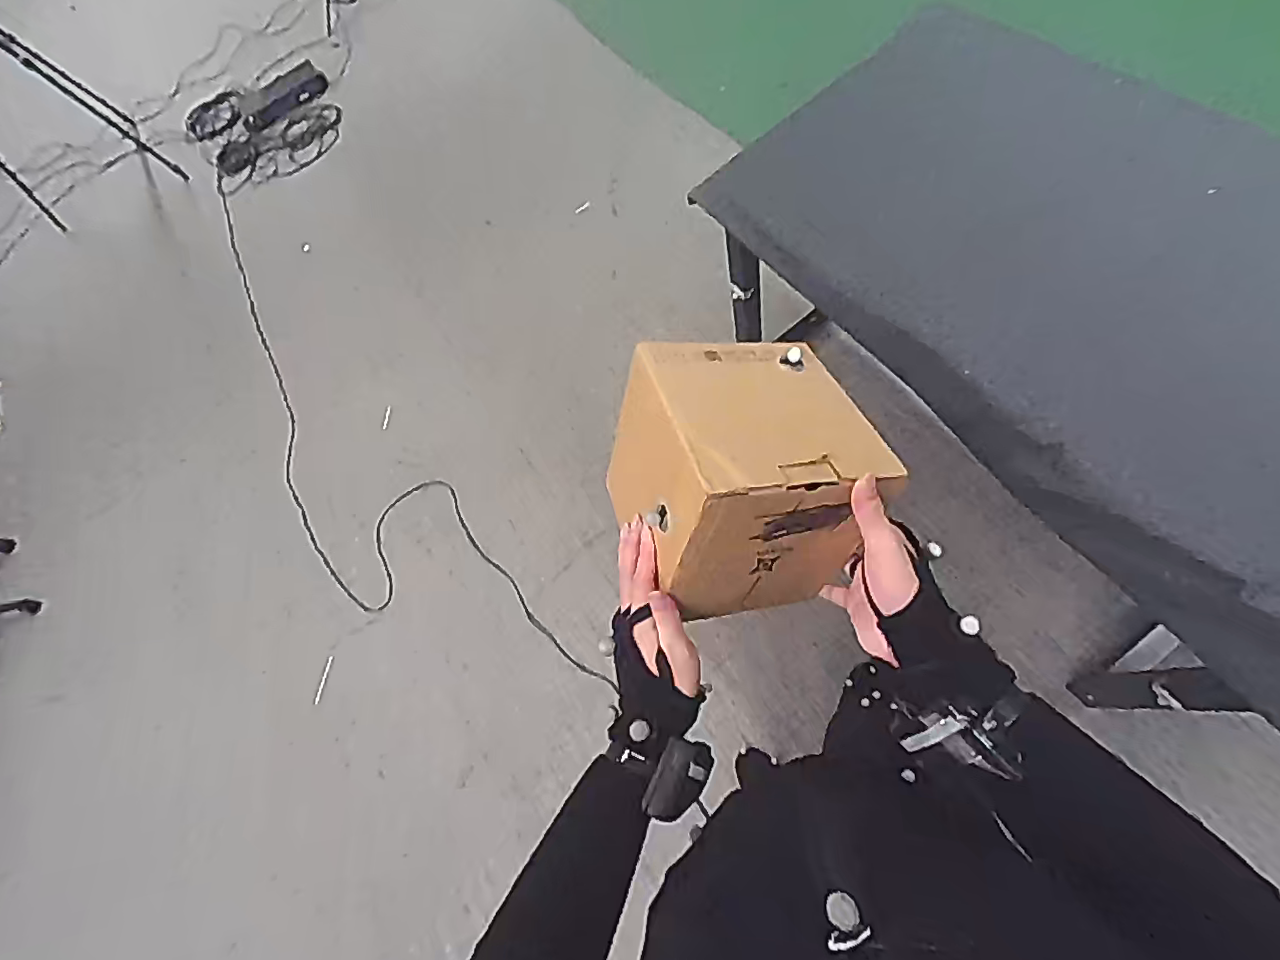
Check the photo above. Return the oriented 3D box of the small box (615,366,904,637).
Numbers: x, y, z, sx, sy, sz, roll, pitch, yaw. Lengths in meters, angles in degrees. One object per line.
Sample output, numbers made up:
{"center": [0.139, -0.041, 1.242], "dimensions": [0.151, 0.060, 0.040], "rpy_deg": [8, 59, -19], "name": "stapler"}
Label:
{"center": [0.083, 0.012, 0.485], "dimensions": [0.168, 0.179, 0.176], "rpy_deg": [-4, 49, -19], "name": "small box"}
